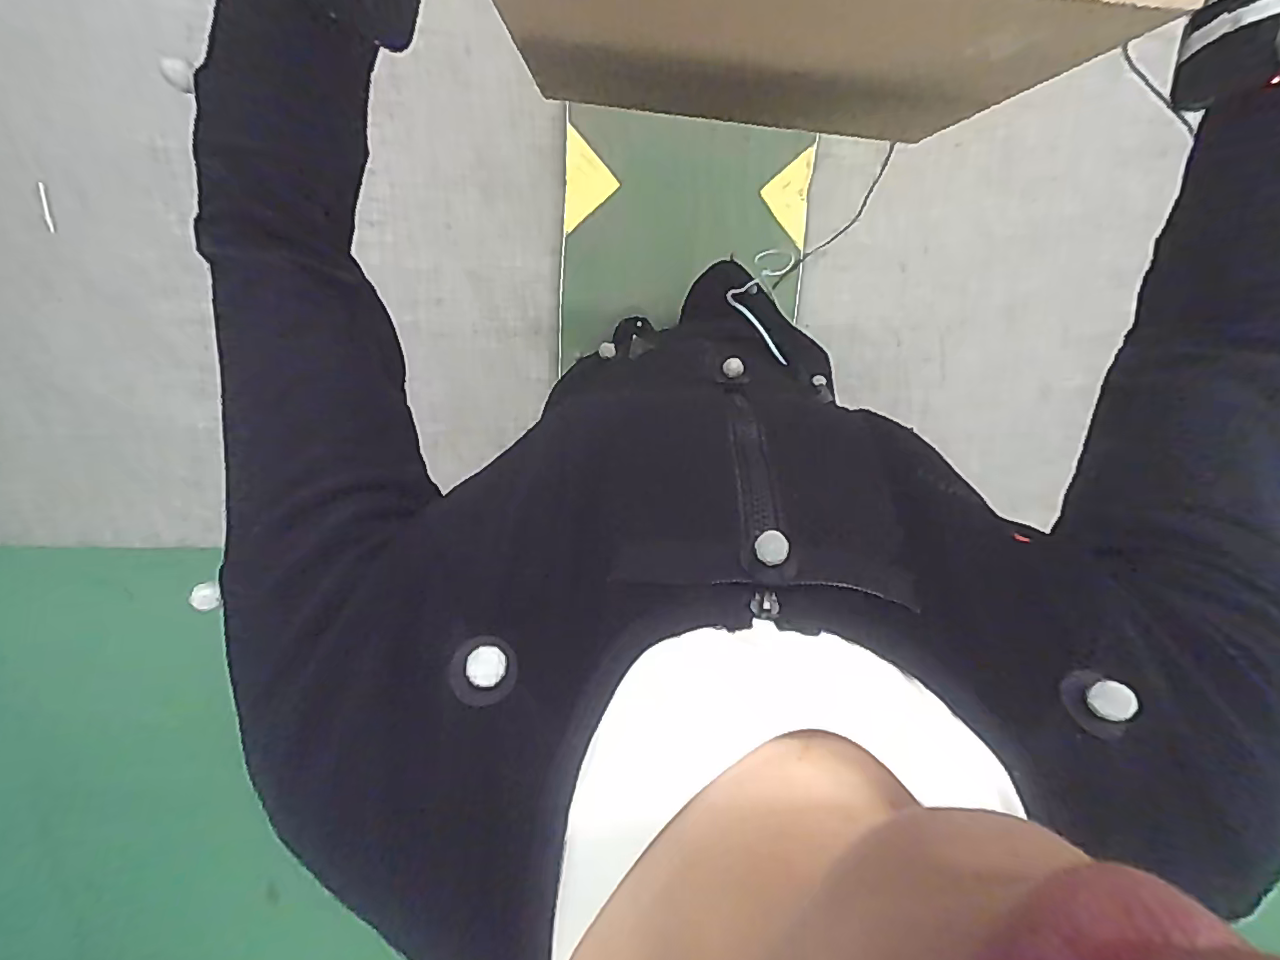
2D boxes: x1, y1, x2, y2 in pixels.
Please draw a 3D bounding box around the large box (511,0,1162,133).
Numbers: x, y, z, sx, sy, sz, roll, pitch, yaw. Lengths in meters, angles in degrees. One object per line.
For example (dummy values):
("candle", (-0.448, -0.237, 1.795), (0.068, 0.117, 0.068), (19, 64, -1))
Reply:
("large box", (0.114, -0.475, 0.380), (0.408, 0.320, 0.320), (4, 111, -3))
